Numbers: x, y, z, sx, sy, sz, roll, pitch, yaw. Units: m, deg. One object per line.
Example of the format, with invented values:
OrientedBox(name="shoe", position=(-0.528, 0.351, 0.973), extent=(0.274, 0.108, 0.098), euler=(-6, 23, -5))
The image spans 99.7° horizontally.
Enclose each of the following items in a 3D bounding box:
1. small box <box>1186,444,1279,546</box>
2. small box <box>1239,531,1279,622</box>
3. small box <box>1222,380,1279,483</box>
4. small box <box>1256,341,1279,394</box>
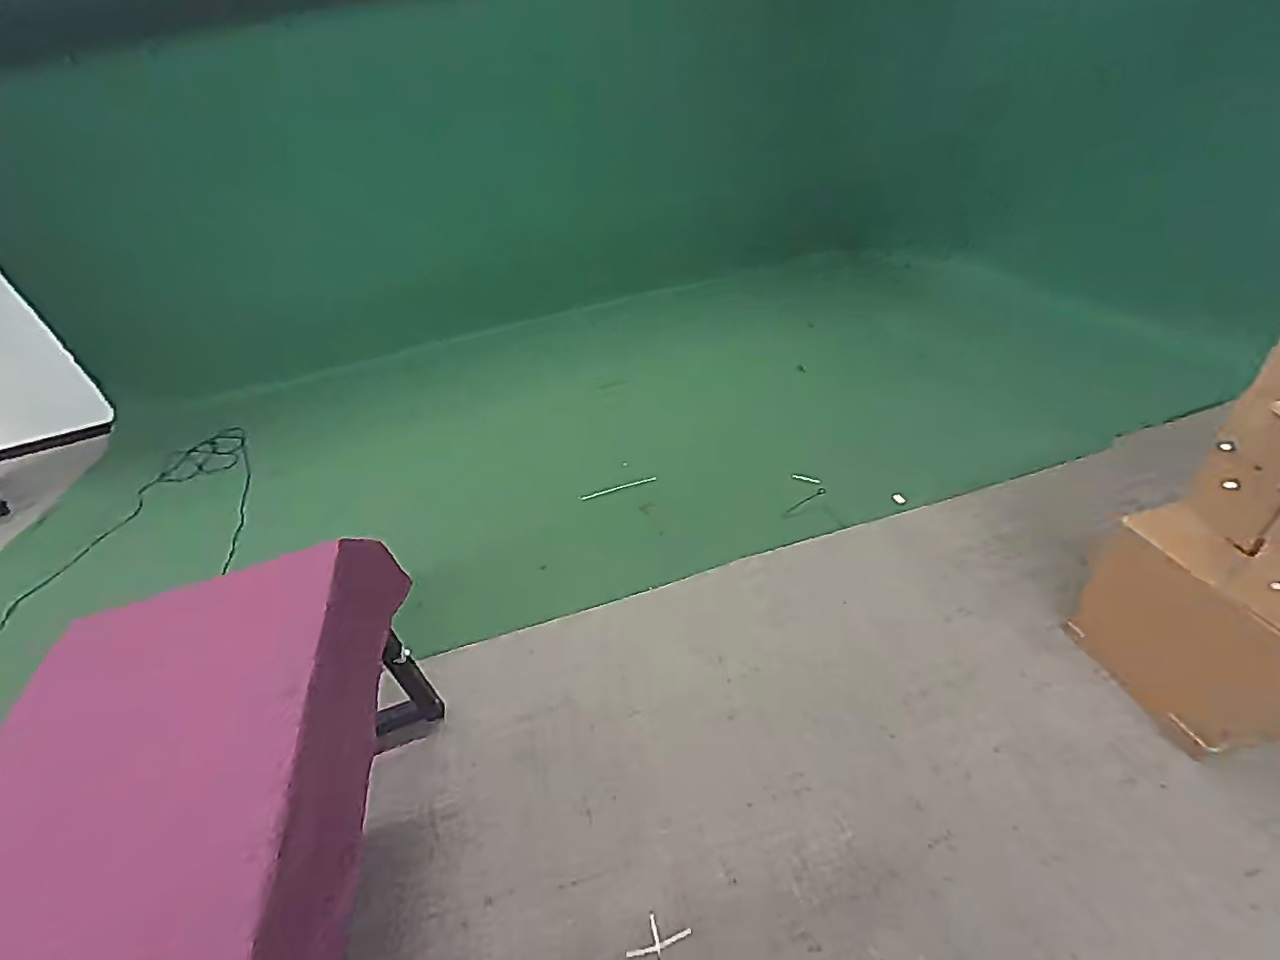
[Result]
OrientedBox(name="small box", position=(1.413, 0.024, 1.219), extent=(0.168, 0.176, 0.179), euler=(-10, 38, 3))
OrientedBox(name="small box", position=(1.315, 0.192, 1.025), extent=(0.179, 0.176, 0.168), euler=(-15, 37, -4))
OrientedBox(name="small box", position=(1.387, -0.108, 1.124), extent=(0.179, 0.176, 0.168), euler=(-8, 37, 3))
OrientedBox(name="small box", position=(1.367, -0.241, 1.028), extent=(0.179, 0.176, 0.168), euler=(-12, 36, -2))
